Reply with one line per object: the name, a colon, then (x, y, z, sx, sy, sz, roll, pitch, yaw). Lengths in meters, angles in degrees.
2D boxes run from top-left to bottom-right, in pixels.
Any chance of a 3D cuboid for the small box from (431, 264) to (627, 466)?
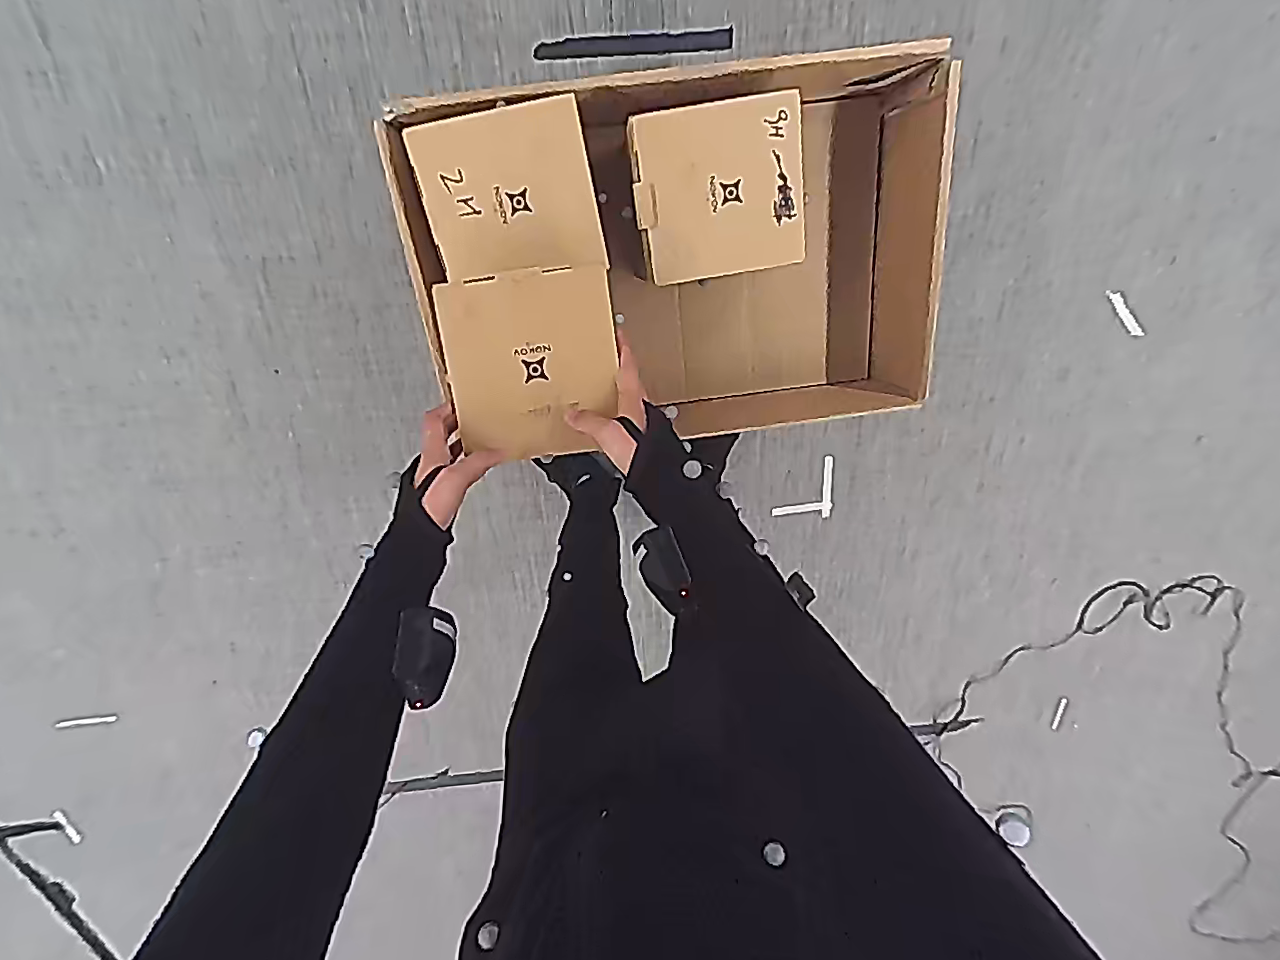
small box: (-0.110, -0.119, 0.598, 0.168, 0.176, 0.179, -9, 99, -3)
